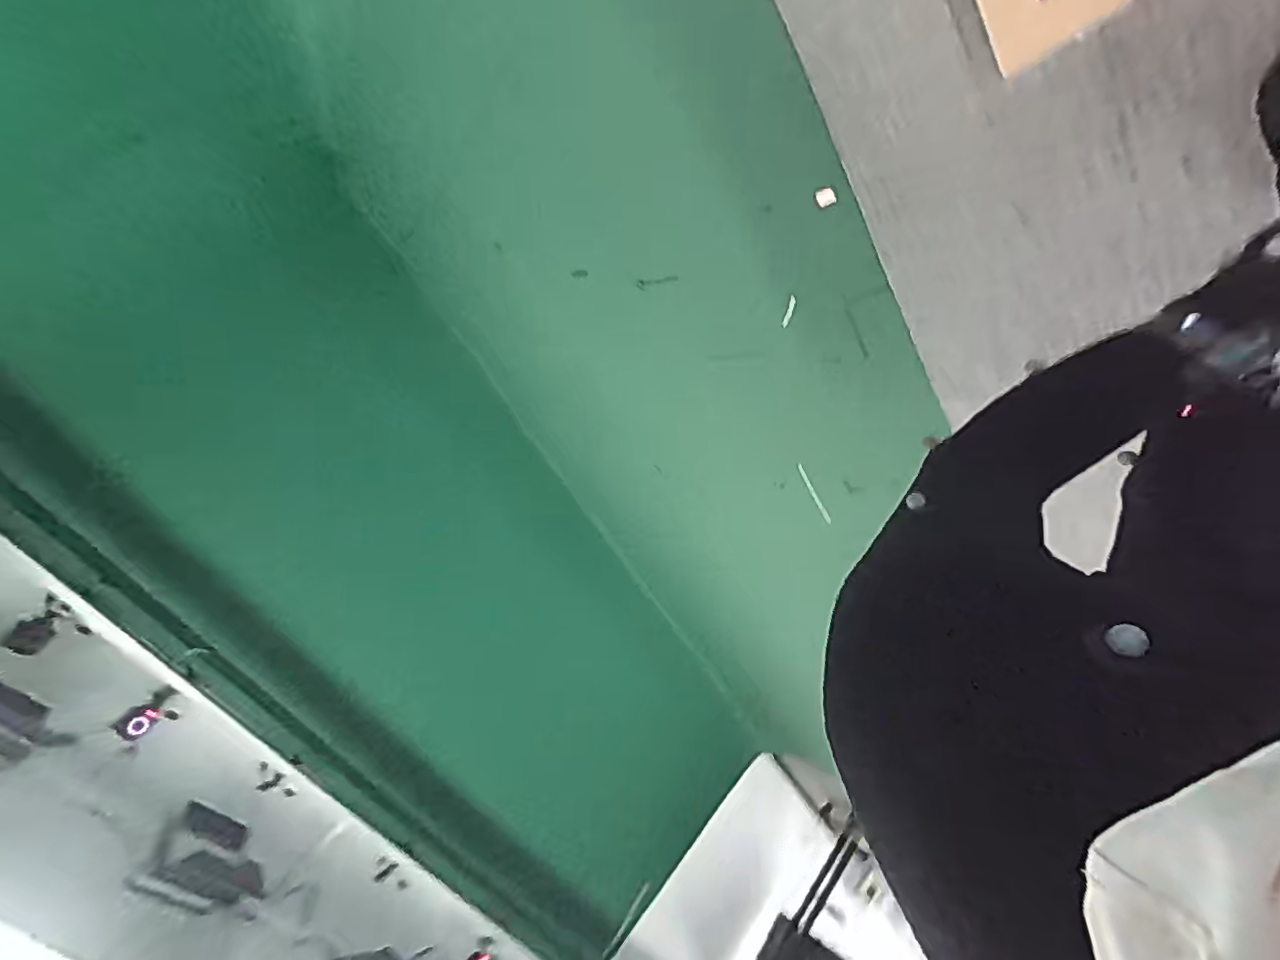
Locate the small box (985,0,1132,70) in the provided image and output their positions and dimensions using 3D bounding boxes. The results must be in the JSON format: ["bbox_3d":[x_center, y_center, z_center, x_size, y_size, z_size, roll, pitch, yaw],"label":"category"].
[{"bbox_3d":[0.640,-0.772,0.801,0.179,0.176,0.168,55,156,-19],"label":"small box"}]
